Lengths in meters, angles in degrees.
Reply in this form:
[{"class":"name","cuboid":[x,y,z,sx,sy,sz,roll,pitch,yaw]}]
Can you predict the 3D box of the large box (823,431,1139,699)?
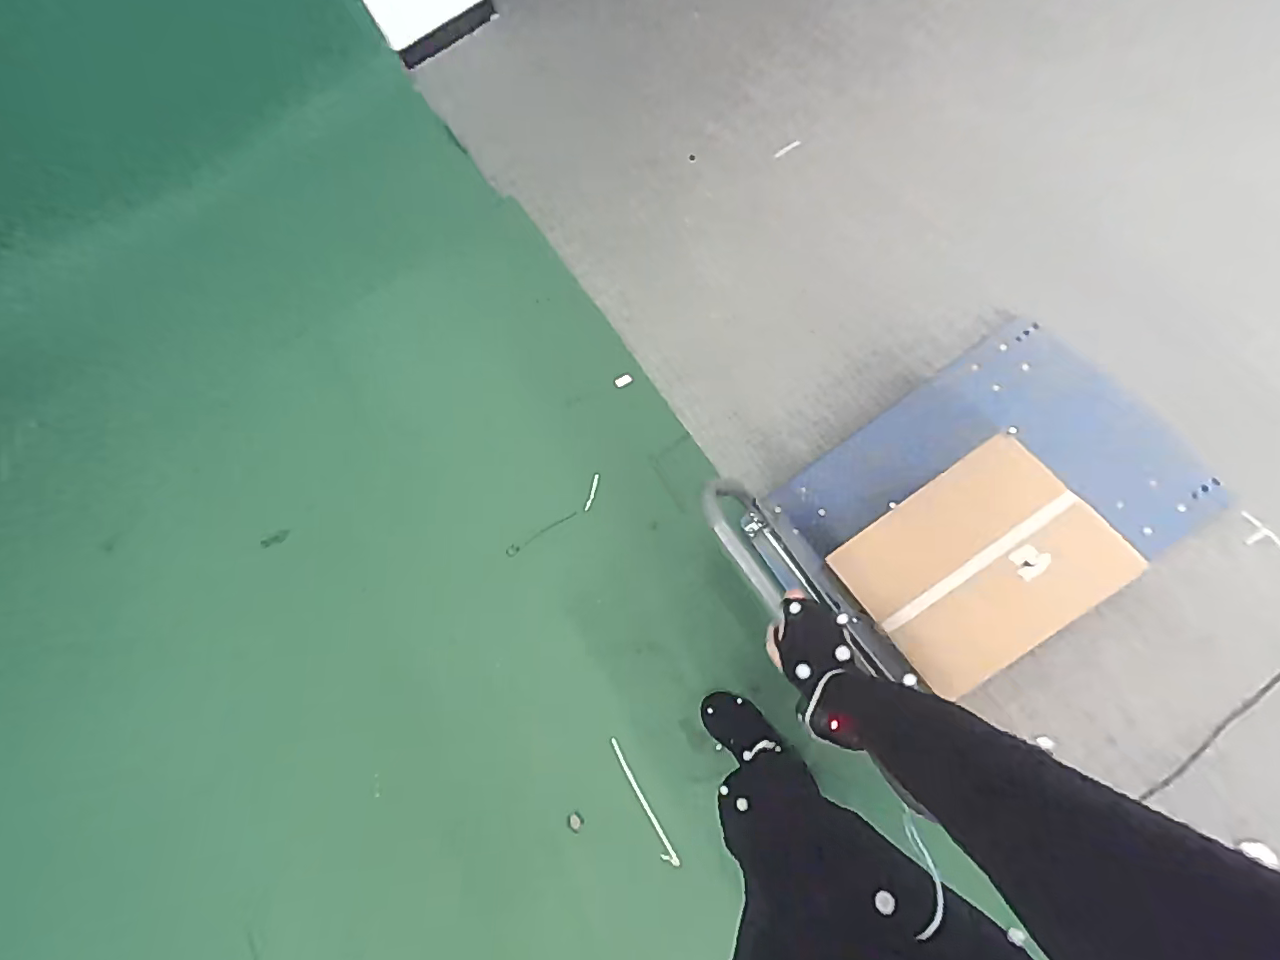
[{"class":"large box","cuboid":[0.636,0.178,1.104,0.408,0.320,0.320,-38,71,5]}]
